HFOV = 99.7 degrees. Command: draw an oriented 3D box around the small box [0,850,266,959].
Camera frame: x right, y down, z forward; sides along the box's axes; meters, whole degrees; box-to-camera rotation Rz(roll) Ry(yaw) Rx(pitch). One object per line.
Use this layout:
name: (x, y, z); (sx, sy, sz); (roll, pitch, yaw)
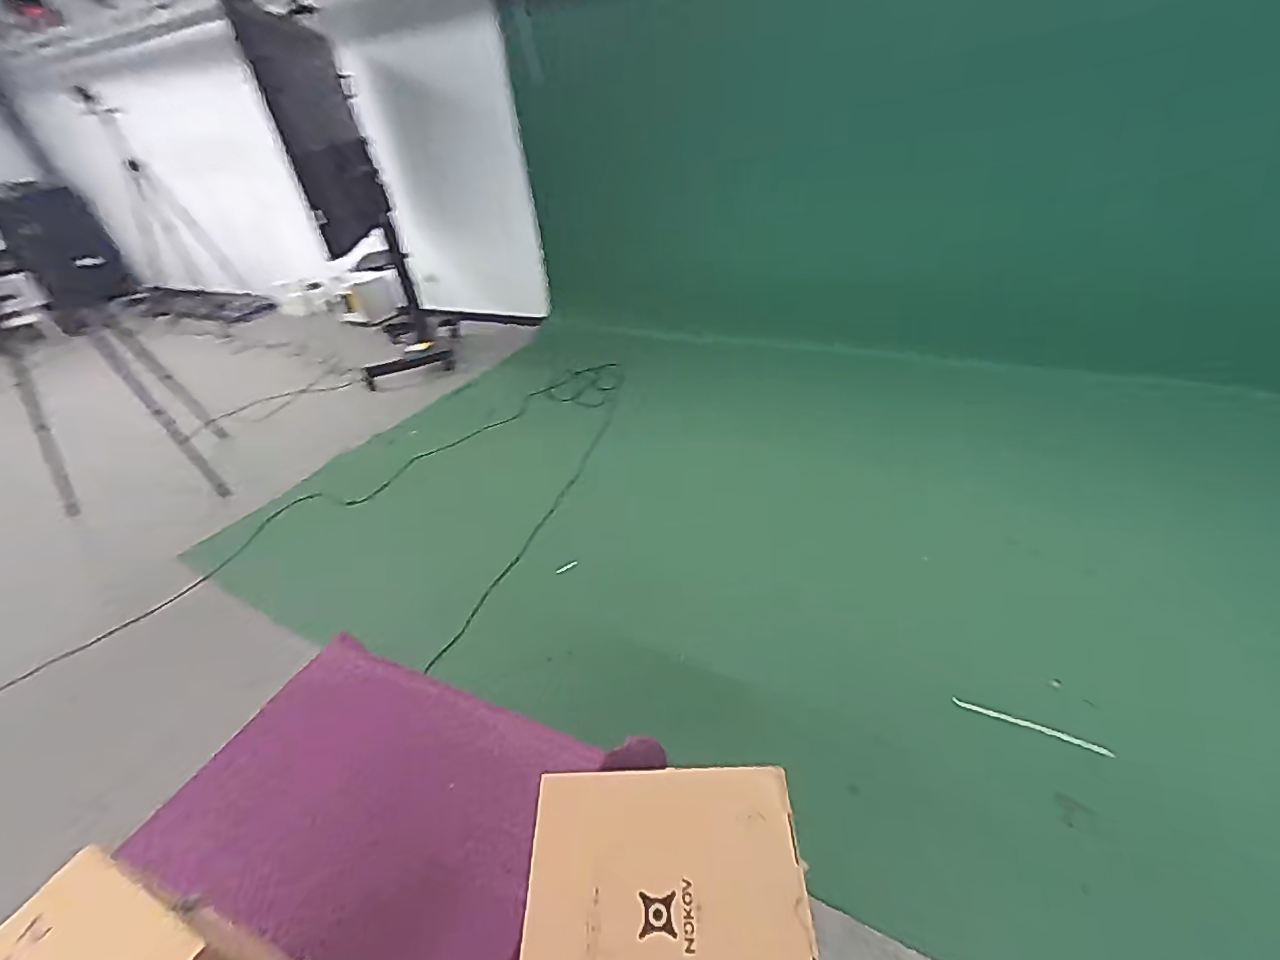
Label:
small box: (-0.418, 0.442, 0.423); (0.179, 0.176, 0.168); (10, 39, 23)

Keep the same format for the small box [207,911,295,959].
small box: (-0.399, 0.574, 0.522); (0.179, 0.176, 0.168); (12, 39, 23)

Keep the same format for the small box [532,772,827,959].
small box: (0.030, 0.324, 0.384); (0.179, 0.176, 0.168); (-4, 43, 5)
